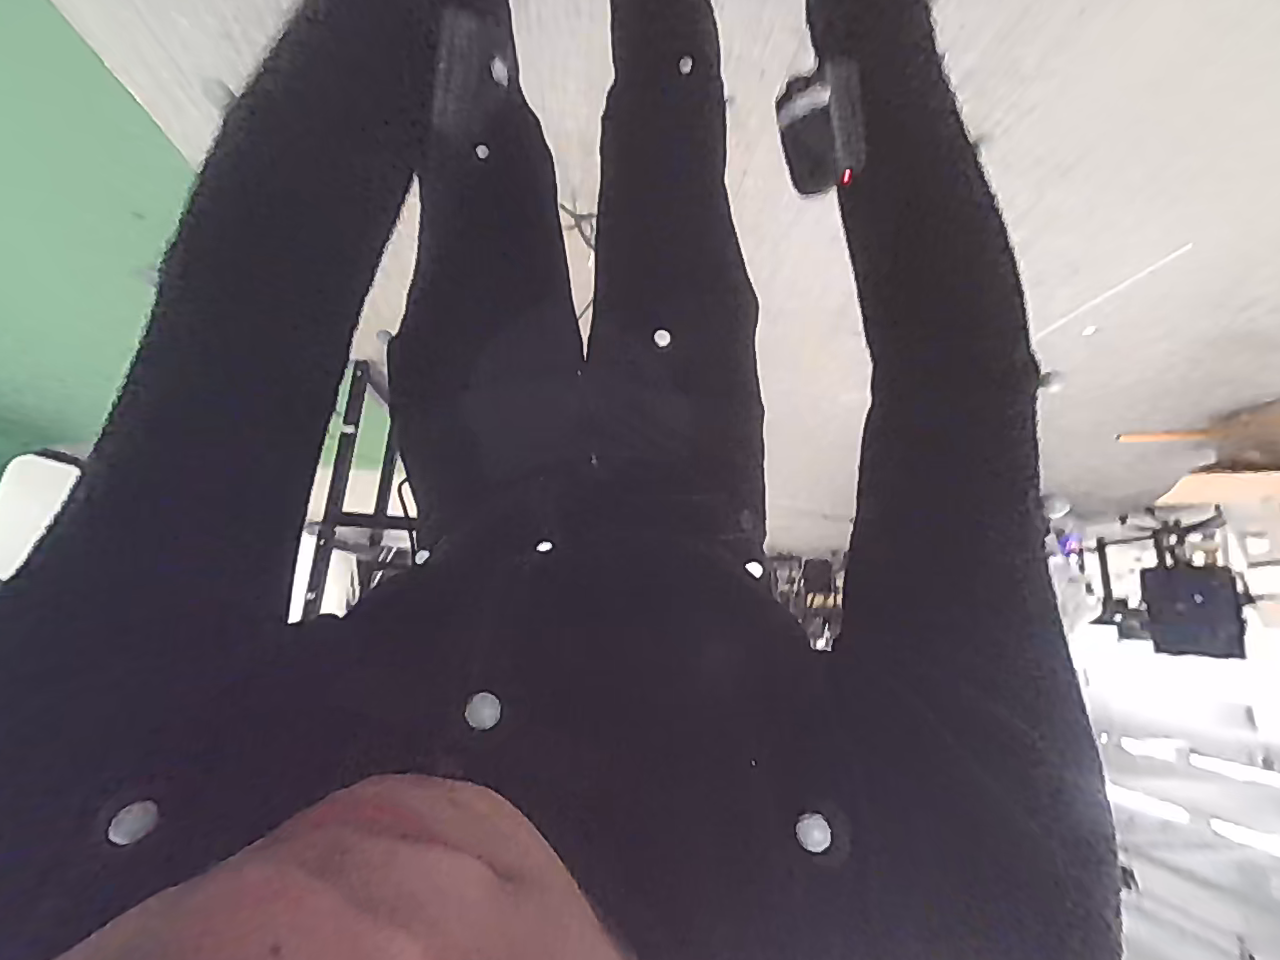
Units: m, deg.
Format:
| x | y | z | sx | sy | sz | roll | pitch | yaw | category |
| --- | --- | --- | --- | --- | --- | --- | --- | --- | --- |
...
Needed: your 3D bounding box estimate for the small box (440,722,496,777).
| x | y | z | sx | sy | sz | roll | pitch | yaw | category |
| --- | --- | --- | --- | --- | --- | --- | --- | --- | --- |
| -0.686 | 1.079 | 2.178 | 0.179 | 0.176 | 0.168 | 6 | 166 | -7 | small box |
